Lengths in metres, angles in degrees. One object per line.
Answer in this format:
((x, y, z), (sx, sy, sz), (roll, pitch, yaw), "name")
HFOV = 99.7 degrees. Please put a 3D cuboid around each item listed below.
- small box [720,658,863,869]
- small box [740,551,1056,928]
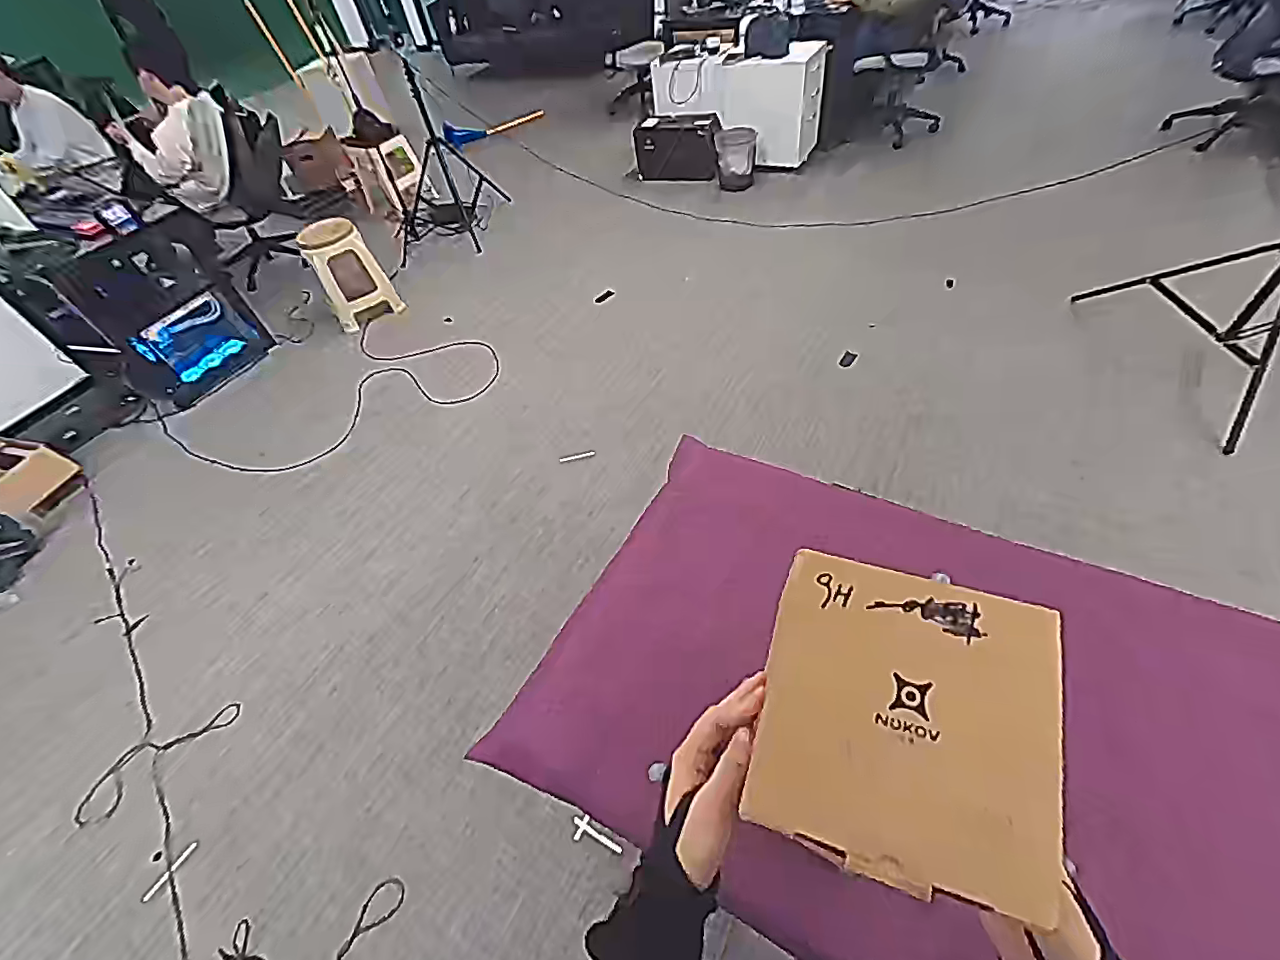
((0.205, 0.311, 0.627), (0.168, 0.176, 0.179), (21, 55, 25), "small box")
((0.176, 0.180, 0.408), (0.168, 0.176, 0.179), (13, 66, 15), "small box")
